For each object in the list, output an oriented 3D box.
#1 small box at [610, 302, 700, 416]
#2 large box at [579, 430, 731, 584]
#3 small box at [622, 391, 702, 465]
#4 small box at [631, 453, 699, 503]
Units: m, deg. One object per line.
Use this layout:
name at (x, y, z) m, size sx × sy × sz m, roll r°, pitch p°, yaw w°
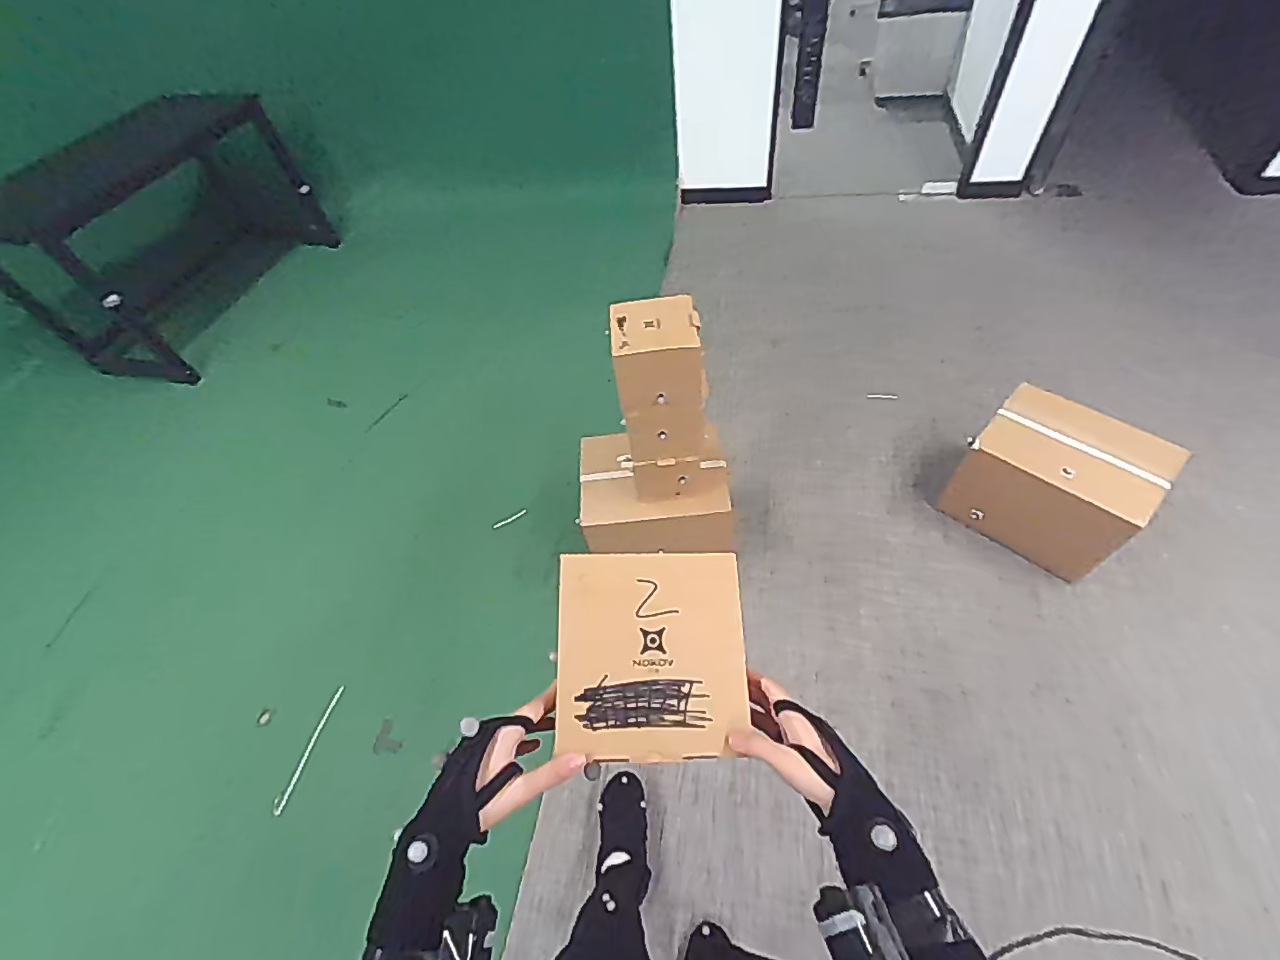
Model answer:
small box at (0.031, -0.255, 1.156) m, size 0.179 × 0.176 × 0.168 m, roll -5°, pitch 52°, yaw 2°
large box at (0.048, 0.089, 1.614) m, size 0.408 × 0.320 × 0.320 m, roll -7°, pitch 51°, yaw 4°
small box at (0.051, -0.154, 1.284) m, size 0.179 × 0.176 × 0.168 m, roll -7°, pitch 53°, yaw 2°
small box at (0.064, -0.053, 1.412) m, size 0.168 × 0.176 × 0.179 m, roll -6°, pitch 52°, yaw 3°
